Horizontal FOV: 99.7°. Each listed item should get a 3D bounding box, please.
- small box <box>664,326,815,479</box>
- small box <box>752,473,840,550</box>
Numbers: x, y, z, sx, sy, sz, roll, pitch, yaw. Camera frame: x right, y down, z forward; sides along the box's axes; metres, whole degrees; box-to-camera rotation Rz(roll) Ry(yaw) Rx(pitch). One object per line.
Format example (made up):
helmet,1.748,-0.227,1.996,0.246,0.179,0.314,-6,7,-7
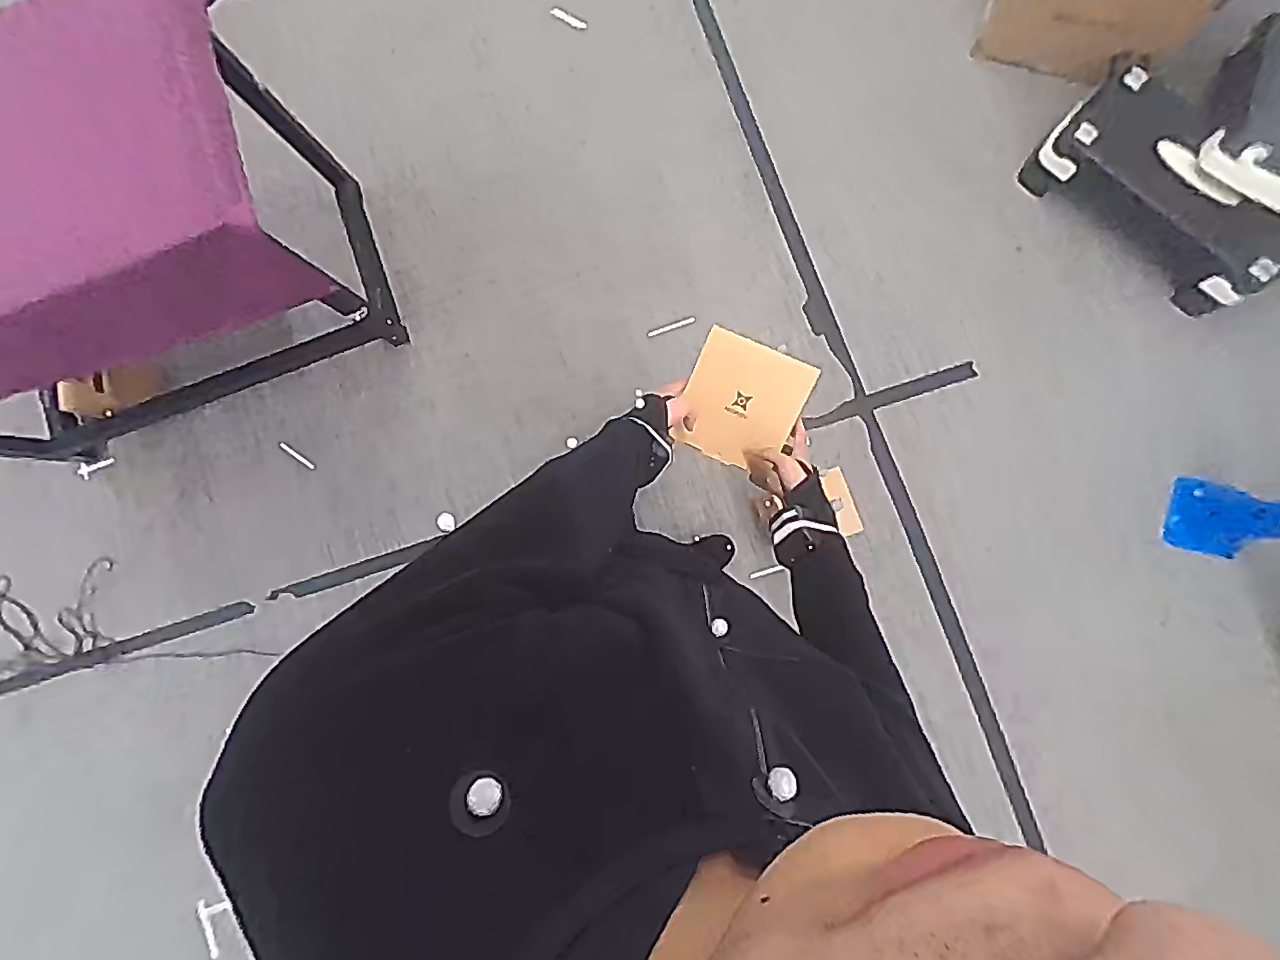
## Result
small box,0.153,-0.127,0.855,0.168,0.176,0.179,25,106,5
small box,0.436,0.087,1.540,0.179,0.176,0.168,-22,86,3
